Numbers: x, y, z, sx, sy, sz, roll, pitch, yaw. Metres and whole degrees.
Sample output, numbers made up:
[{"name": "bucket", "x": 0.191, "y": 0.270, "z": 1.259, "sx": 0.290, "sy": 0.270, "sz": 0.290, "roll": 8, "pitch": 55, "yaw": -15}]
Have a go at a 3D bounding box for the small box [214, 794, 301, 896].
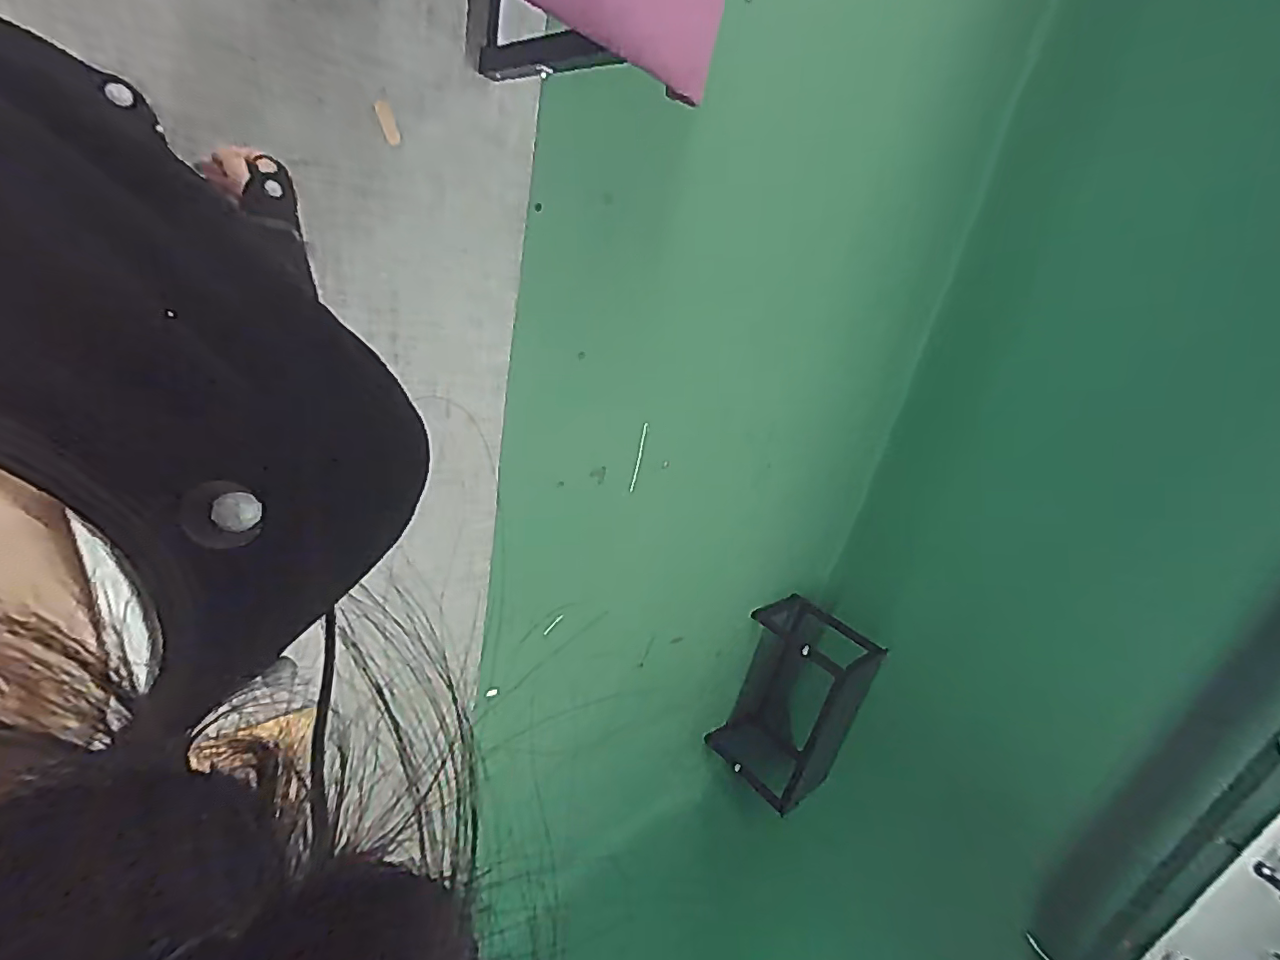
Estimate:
[{"name": "small box", "x": -1.220, "y": 1.154, "z": 1.723, "sx": 0.179, "sy": 0.176, "sz": 0.168, "roll": -23, "pitch": 129, "yaw": -33}]
